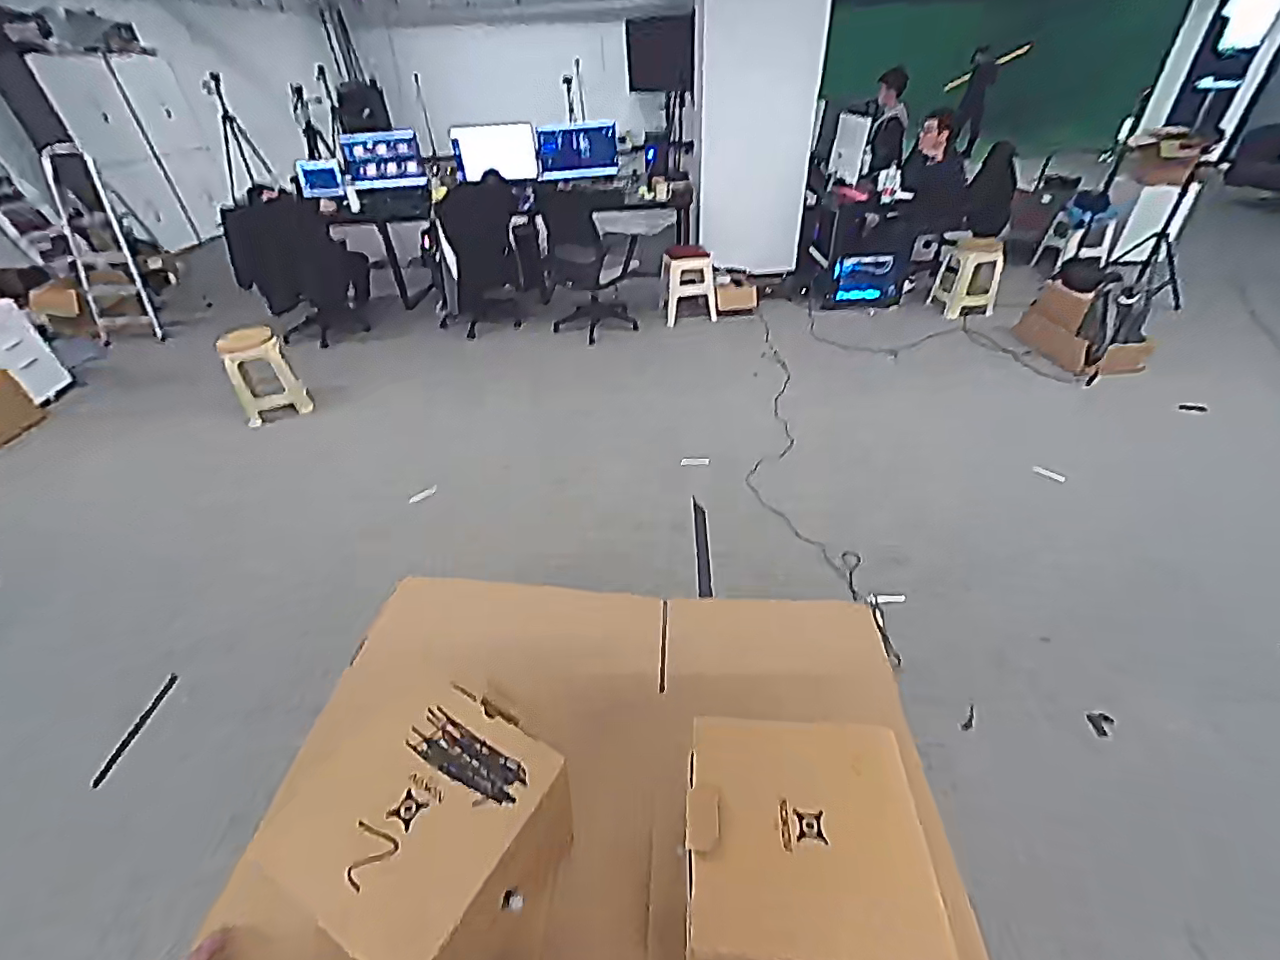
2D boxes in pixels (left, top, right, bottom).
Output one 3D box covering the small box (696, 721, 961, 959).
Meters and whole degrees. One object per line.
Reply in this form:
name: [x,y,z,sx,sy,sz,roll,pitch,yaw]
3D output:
small box: [0.139,0.337,0.474,0.179,0.176,0.168,0,36,6]
